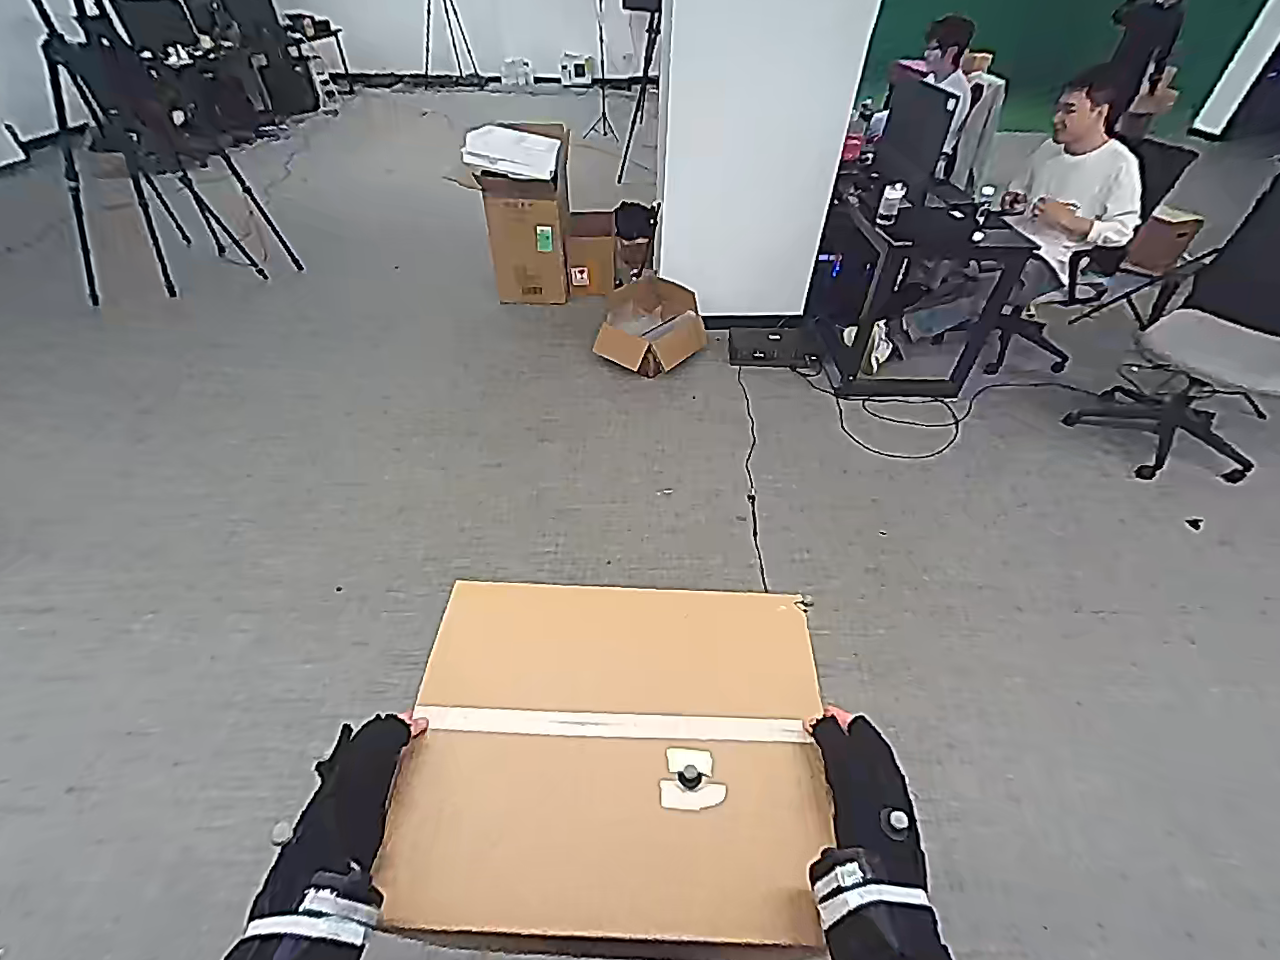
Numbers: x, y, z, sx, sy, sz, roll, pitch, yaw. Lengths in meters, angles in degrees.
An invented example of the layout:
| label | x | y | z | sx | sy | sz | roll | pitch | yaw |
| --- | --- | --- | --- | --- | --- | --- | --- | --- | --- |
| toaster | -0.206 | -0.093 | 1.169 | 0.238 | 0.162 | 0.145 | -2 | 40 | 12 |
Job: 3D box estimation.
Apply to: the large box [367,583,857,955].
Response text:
| label | x | y | z | sx | sy | sz | roll | pitch | yaw |
| --- | --- | --- | --- | --- | --- | --- | --- | --- | --- |
| large box | -0.024 | 0.342 | 0.639 | 0.408 | 0.320 | 0.320 | 3 | 46 | 0 |
